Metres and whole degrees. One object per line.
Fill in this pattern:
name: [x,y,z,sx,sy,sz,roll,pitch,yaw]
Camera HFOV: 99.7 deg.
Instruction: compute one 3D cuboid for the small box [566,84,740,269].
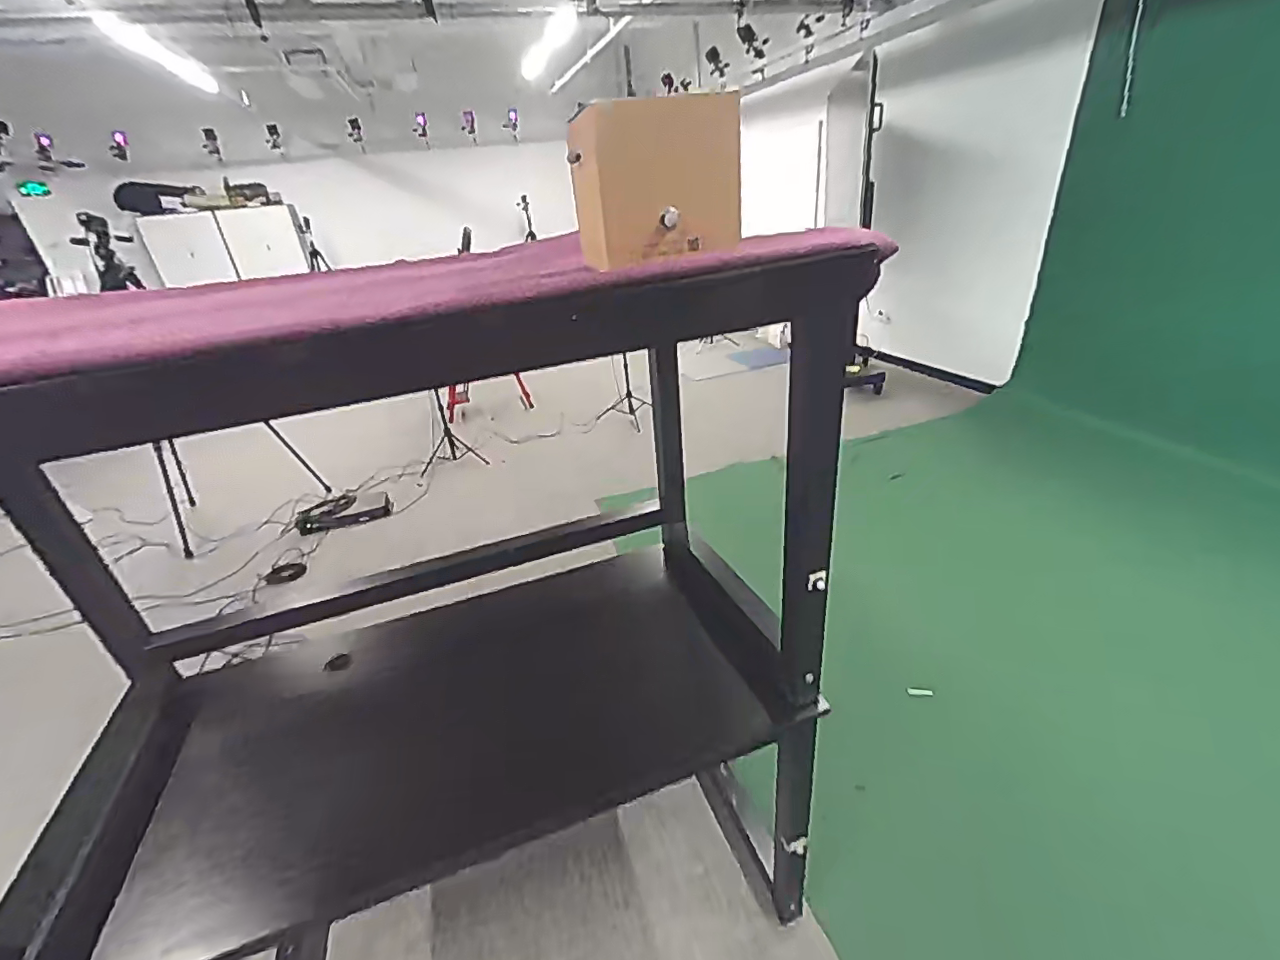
small box: [0.012,-0.358,0.656,0.168,0.176,0.179,-13,29,-10]
